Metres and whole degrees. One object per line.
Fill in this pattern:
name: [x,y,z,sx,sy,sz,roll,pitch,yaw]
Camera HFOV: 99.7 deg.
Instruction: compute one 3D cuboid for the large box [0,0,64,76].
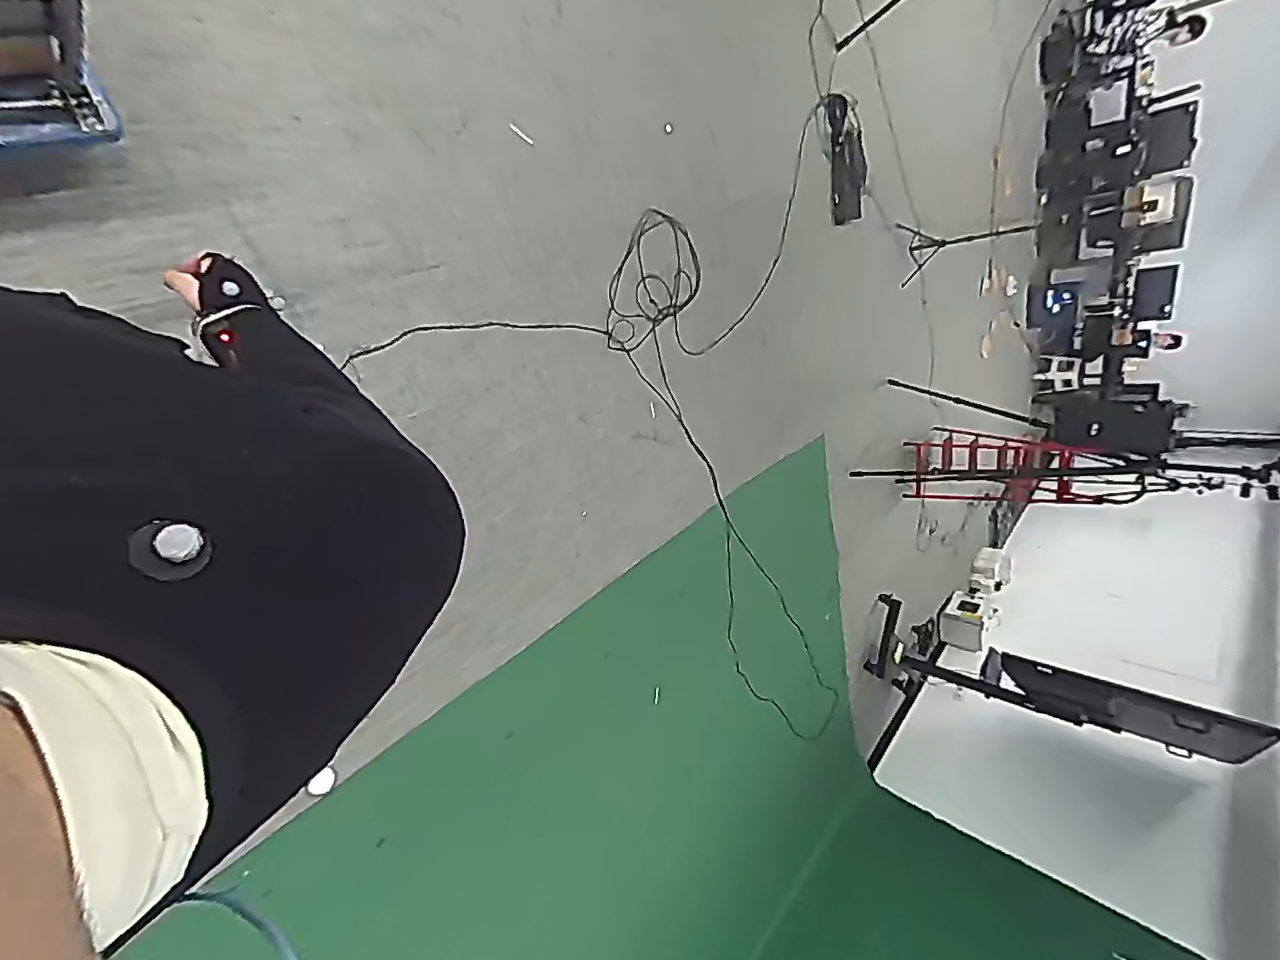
large box: [-1.089,-0.804,0.696,0.320,0.320,0.408,-37,120,-34]
